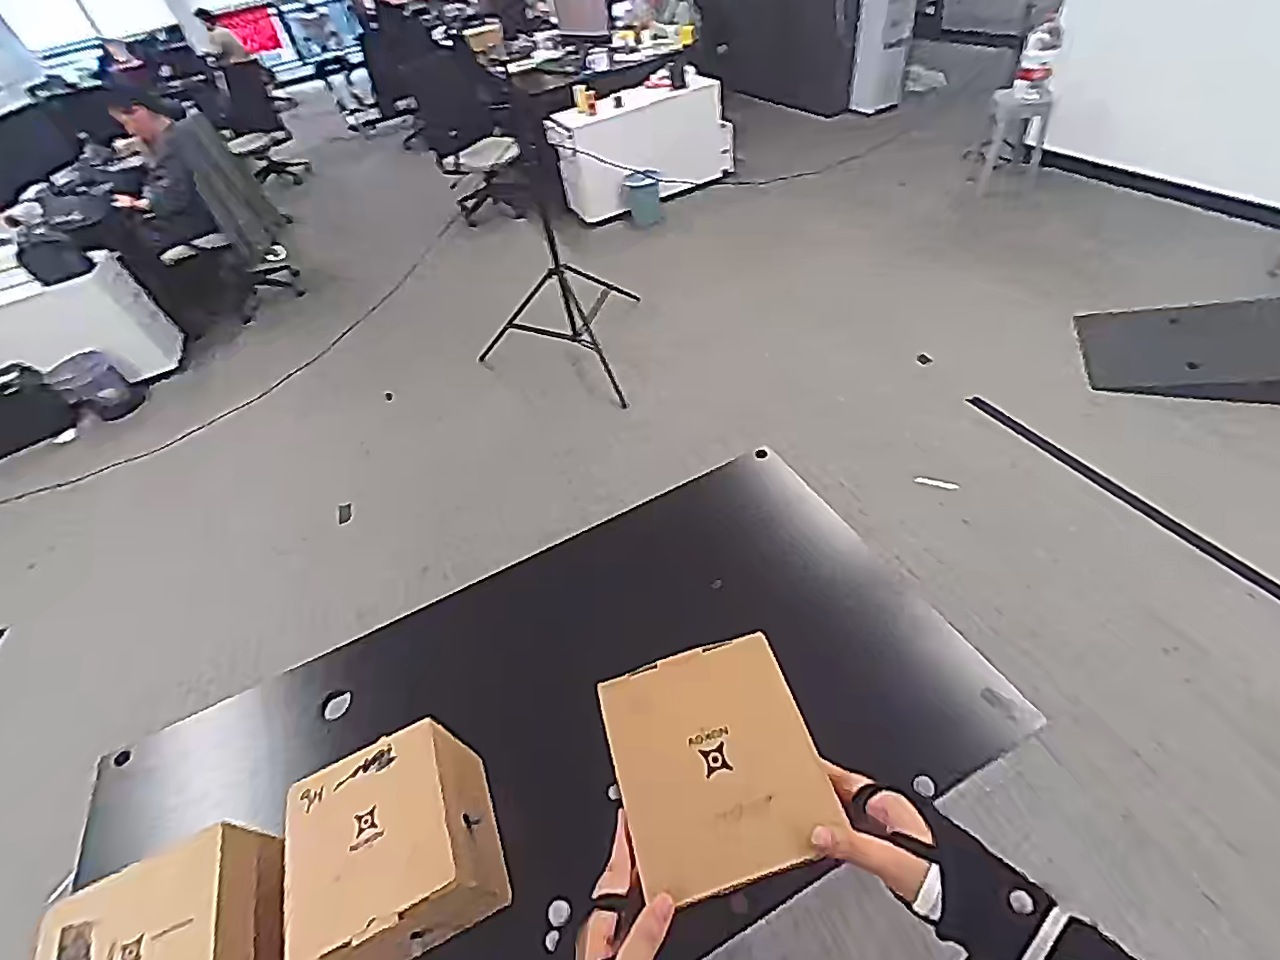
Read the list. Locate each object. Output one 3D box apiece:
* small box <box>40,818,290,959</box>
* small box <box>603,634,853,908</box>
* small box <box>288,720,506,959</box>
[{"bbox_3d":[-0.481,0.506,0.580,0.179,0.176,0.168,-24,49,-12],"label":"small box"},{"bbox_3d":[0.071,0.279,0.520,0.168,0.176,0.179,-17,53,-5],"label":"small box"},{"bbox_3d":[-0.271,0.417,0.622,0.168,0.176,0.179,-23,49,-11],"label":"small box"}]
